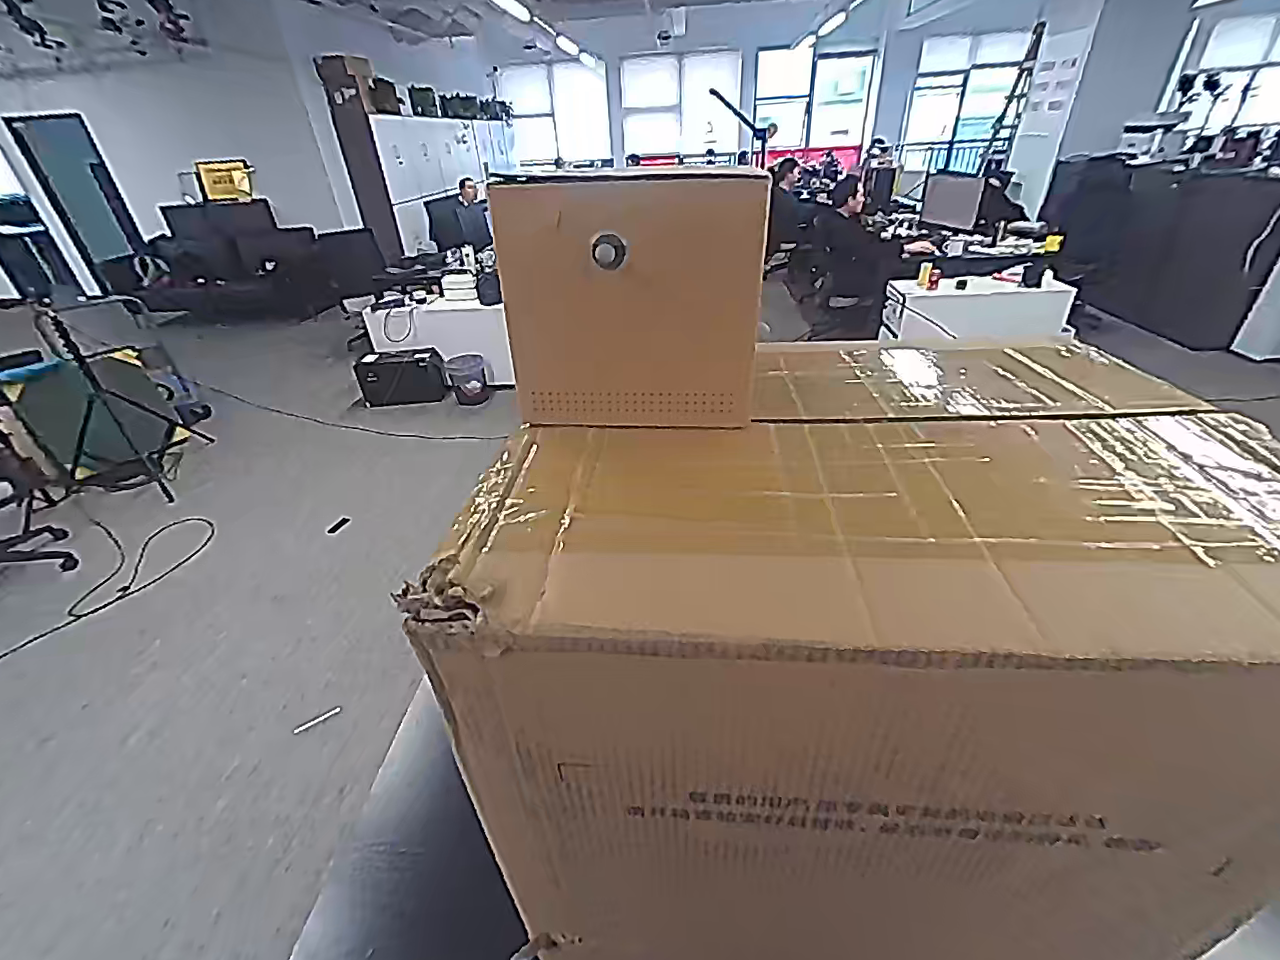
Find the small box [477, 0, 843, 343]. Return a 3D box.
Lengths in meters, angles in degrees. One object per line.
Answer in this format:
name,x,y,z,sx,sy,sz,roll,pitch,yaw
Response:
small box,0.017,-0.193,0.355,0.179,0.176,0.168,2,31,5
